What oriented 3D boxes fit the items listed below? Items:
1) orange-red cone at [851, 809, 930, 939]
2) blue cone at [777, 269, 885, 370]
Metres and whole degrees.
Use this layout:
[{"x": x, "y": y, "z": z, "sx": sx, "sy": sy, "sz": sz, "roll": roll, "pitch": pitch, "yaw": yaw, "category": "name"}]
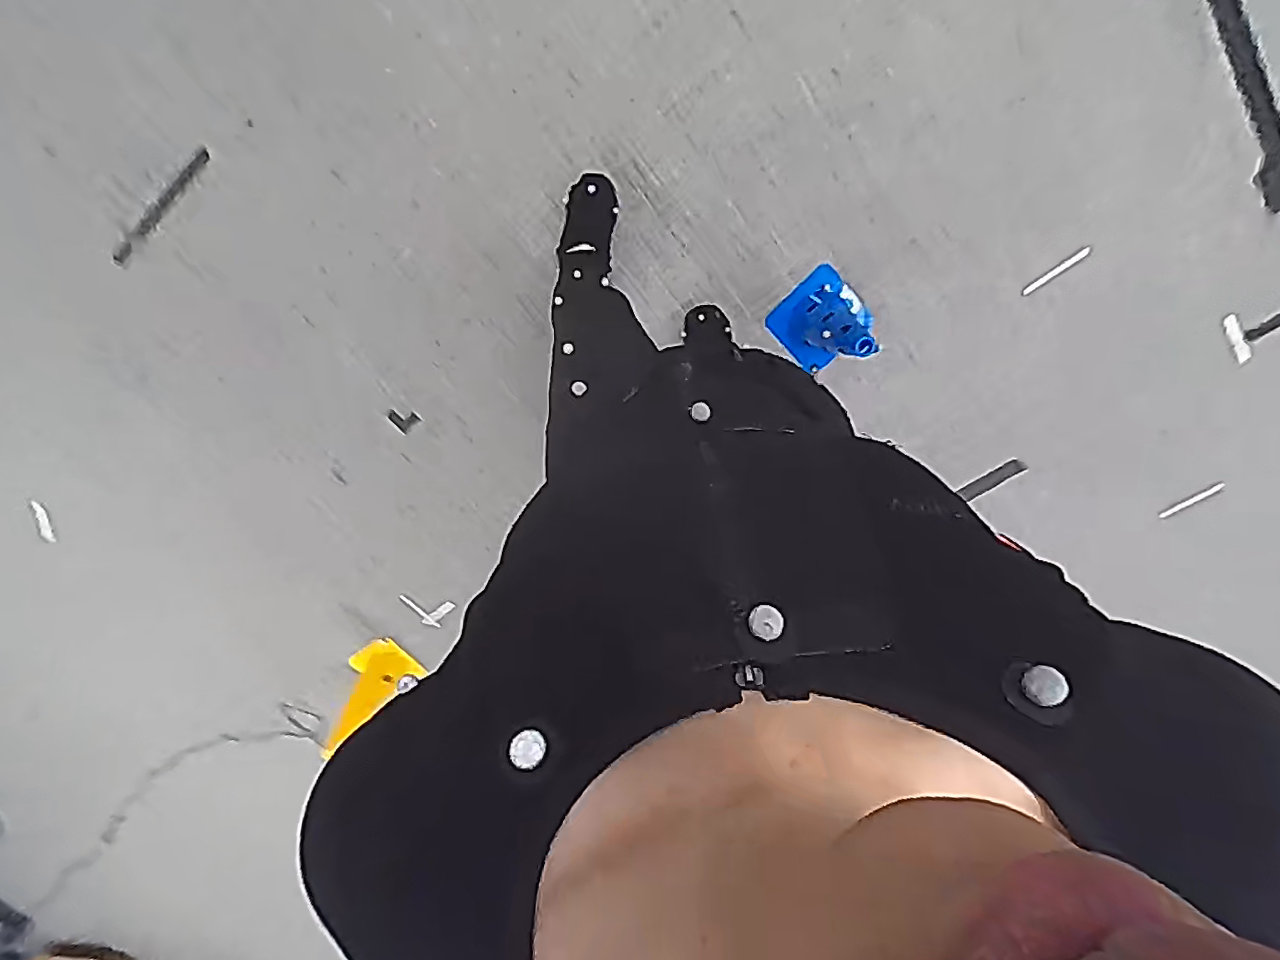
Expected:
[{"x": 0.936, "y": 1.415, "z": 1.926, "sx": 0.199, "sy": 0.360, "sz": 0.198, "roll": -41, "pitch": 107, "yaw": 17, "category": "orange-red cone"}, {"x": 0.443, "y": -0.324, "z": 1.174, "sx": 0.193, "sy": 0.380, "sz": 0.192, "roll": -41, "pitch": 106, "yaw": 18, "category": "blue cone"}]
